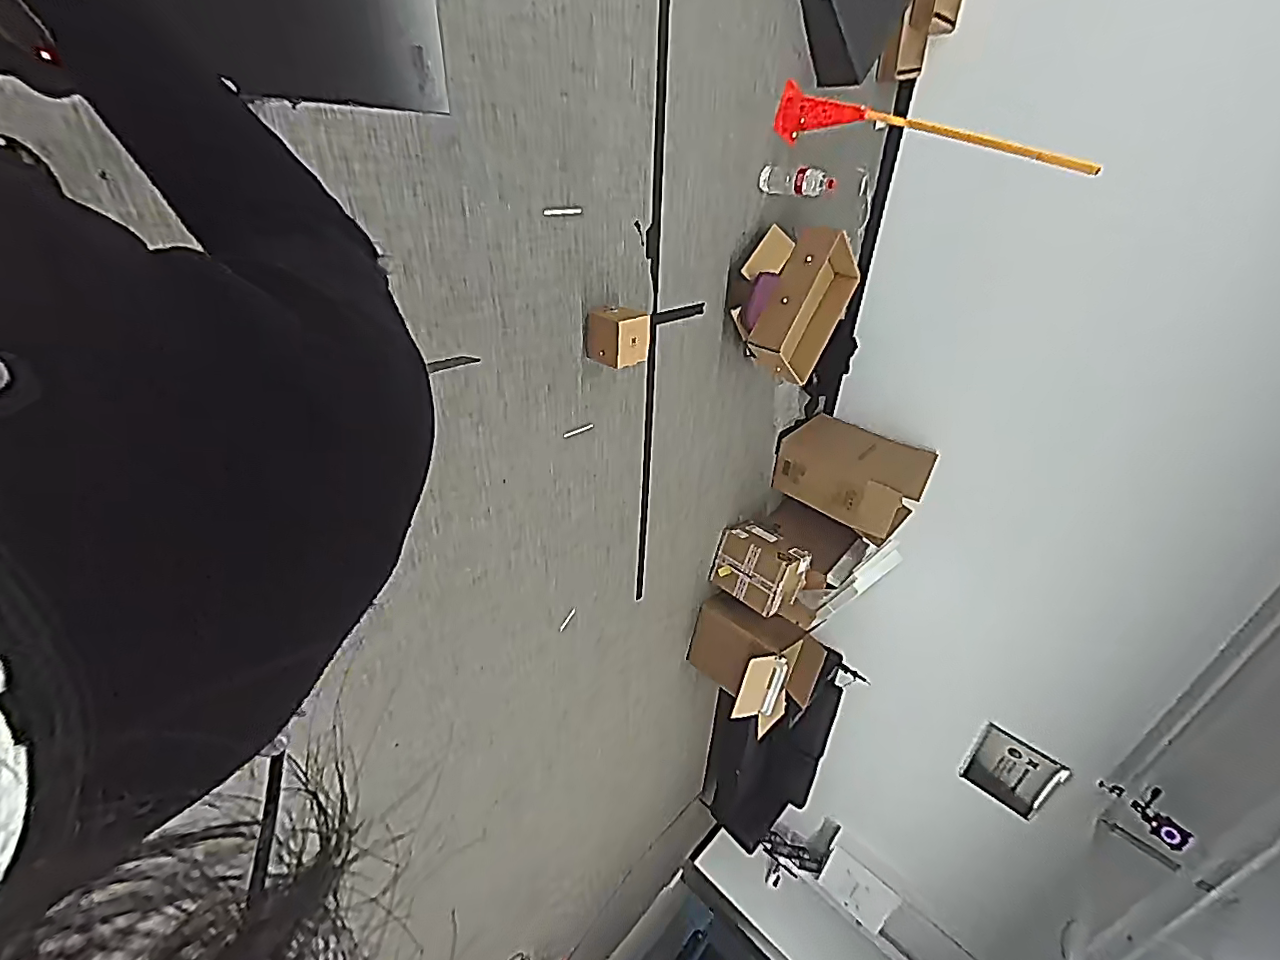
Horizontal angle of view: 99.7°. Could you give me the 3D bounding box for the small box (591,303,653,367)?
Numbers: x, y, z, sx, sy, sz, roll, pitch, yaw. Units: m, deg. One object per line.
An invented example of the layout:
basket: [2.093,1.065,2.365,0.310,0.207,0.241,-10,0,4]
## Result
small box: [-0.069,-0.541,2.004,0.168,0.176,0.179,-28,132,-39]
